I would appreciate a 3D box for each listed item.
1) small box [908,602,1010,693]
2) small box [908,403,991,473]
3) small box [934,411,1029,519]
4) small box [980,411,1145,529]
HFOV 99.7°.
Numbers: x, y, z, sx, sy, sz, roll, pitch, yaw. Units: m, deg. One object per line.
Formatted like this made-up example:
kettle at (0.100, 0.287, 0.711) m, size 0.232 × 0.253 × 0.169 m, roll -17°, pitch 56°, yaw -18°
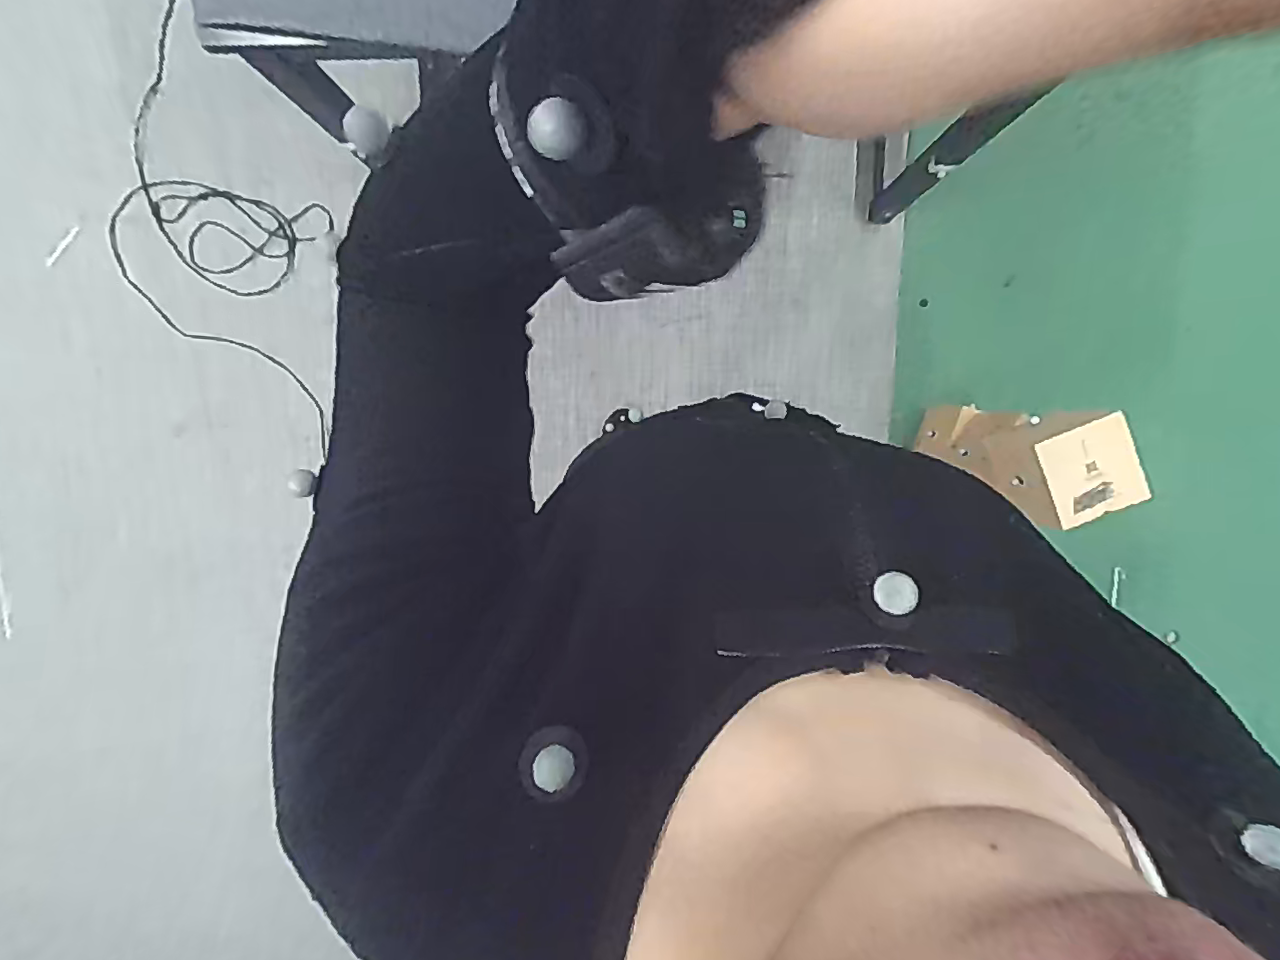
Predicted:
small box at (0.847, 0.439, 1.445) m, size 0.179 × 0.176 × 0.168 m, roll -9°, pitch 97°, yaw 1°
small box at (0.822, -0.092, 1.377) m, size 0.179 × 0.176 × 0.168 m, roll 17°, pitch 98°, yaw -2°
small box at (0.813, -0.040, 1.220) m, size 0.179 × 0.176 × 0.168 m, roll 37°, pitch 98°, yaw -4°
small box at (0.811, -0.027, 1.056) m, size 0.168 × 0.176 × 0.179 m, roll -22°, pitch 96°, yaw 5°
